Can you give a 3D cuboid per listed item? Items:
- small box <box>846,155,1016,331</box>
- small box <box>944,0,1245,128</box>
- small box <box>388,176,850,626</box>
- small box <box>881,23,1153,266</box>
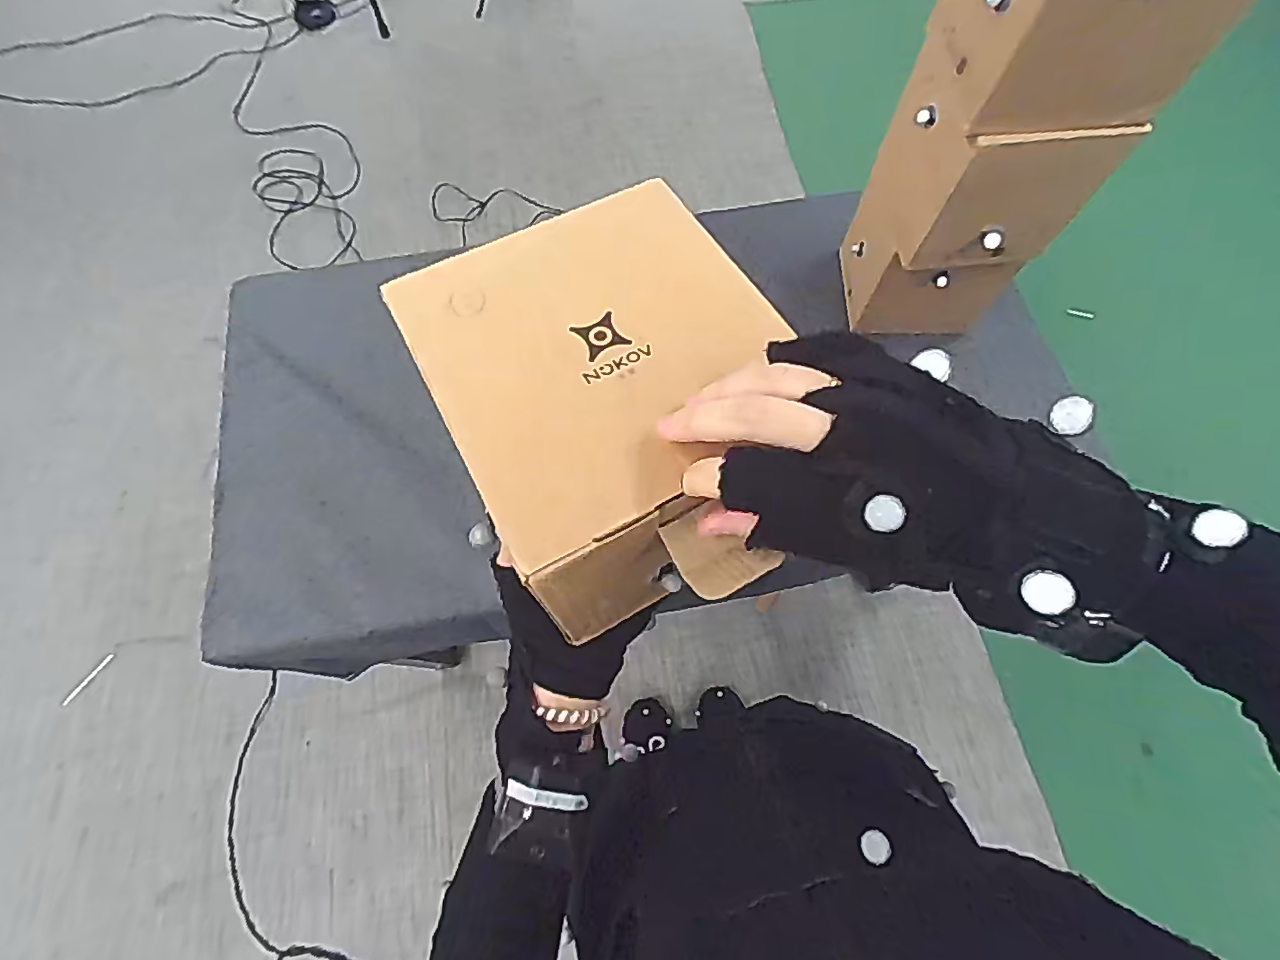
[{"bbox_3d":[0.405,-0.329,0.768,0.179,0.176,0.168,2,69,2],"label":"small box"},{"bbox_3d":[0.386,-0.431,0.457,0.179,0.176,0.168,-2,70,1],"label":"small box"},{"bbox_3d":[-0.017,-0.035,0.329,0.168,0.176,0.179,-27,69,-12],"label":"small box"},{"bbox_3d":[0.395,-0.371,0.609,0.168,0.176,0.179,-4,70,0],"label":"small box"}]
